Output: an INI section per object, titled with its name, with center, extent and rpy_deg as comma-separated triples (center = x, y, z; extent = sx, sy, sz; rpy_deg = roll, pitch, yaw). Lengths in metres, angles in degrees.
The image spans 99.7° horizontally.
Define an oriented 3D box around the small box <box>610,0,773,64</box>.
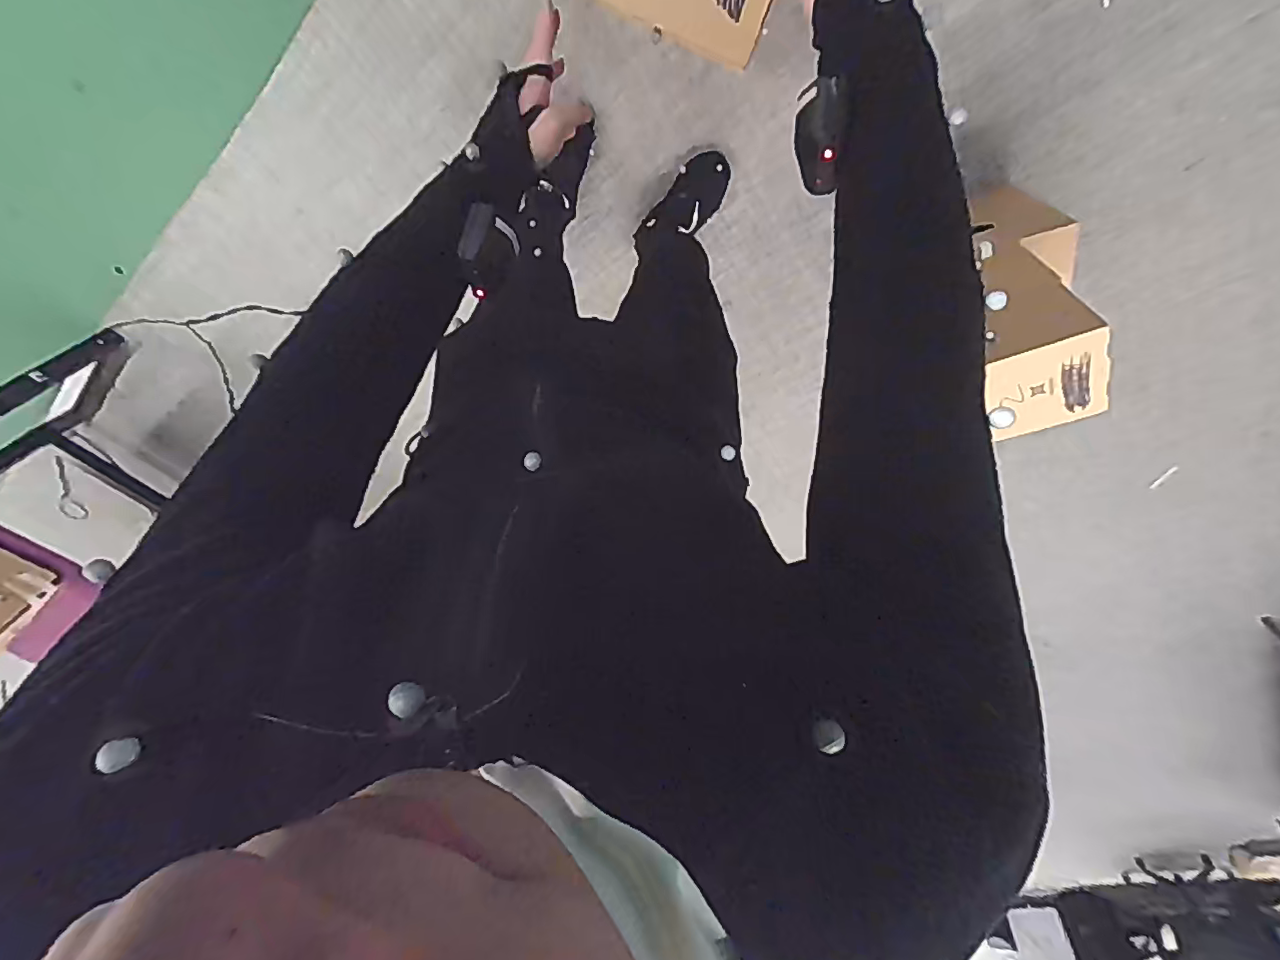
[small box]
center = 0.054, -0.521, 0.496
extent = 0.179, 0.176, 0.168
rpy_deg = 20, 130, -8
